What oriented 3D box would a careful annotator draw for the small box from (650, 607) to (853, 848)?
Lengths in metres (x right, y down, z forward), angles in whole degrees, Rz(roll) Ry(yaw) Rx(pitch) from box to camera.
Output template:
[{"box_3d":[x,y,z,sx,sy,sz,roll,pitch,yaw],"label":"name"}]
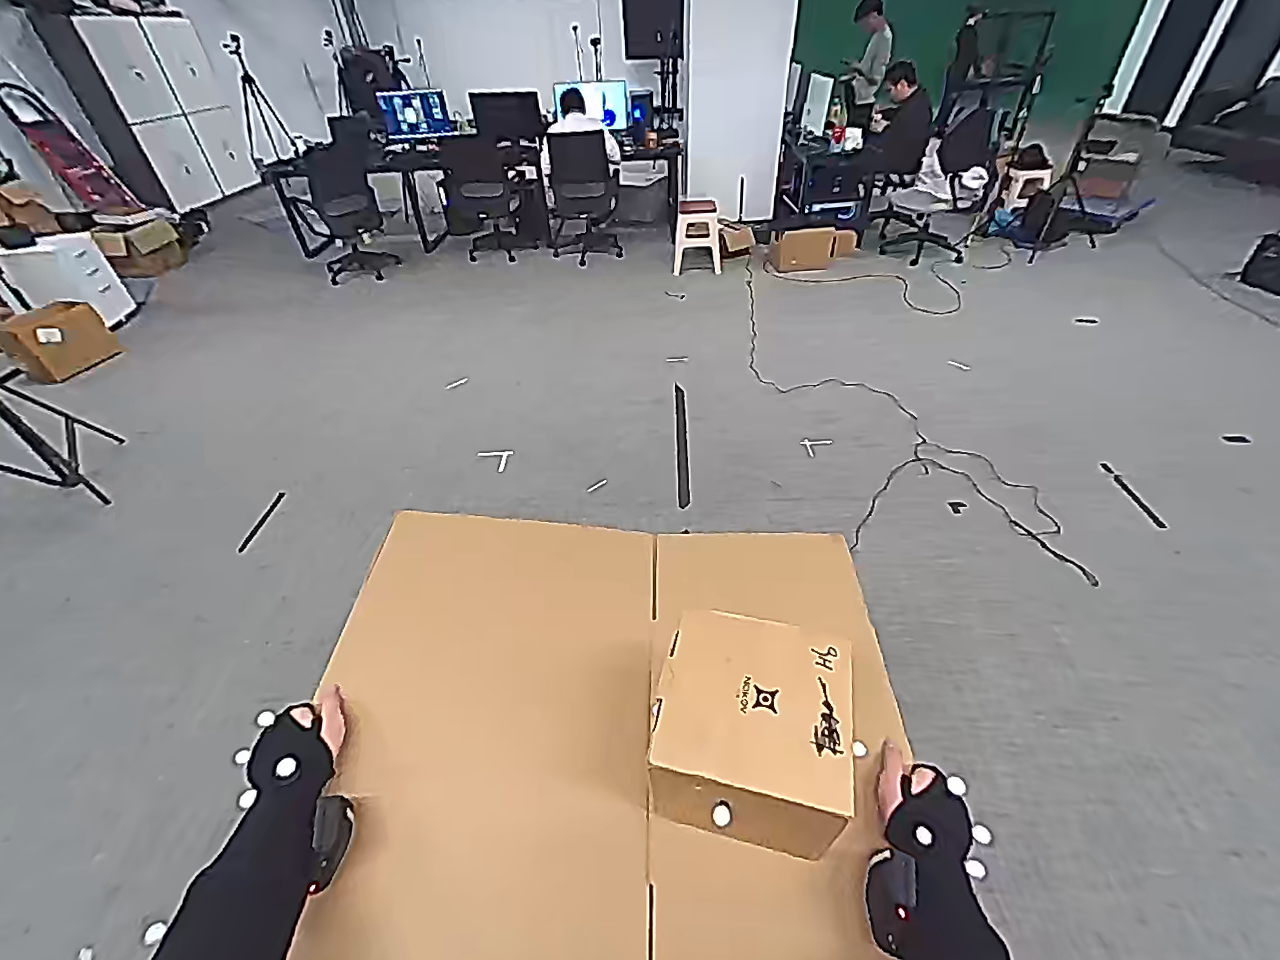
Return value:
[{"box_3d":[0.119,0.262,0.573,0.179,0.176,0.168,7,46,13],"label":"small box"}]
